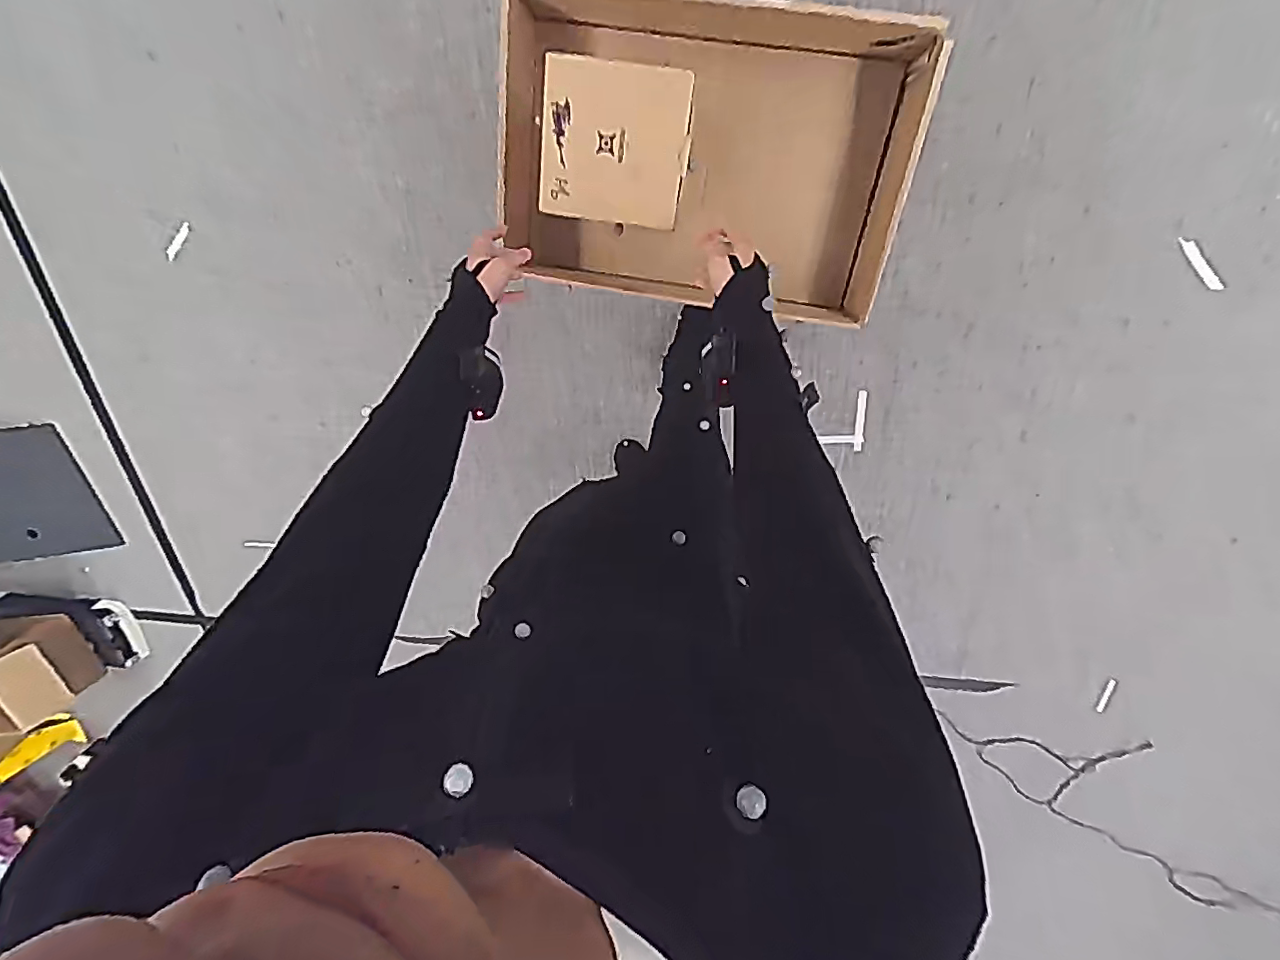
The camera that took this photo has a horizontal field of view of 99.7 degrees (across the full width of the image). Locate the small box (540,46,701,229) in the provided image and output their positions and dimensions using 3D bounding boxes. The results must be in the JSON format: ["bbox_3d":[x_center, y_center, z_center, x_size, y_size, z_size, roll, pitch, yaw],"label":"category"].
[{"bbox_3d":[-0.022,-0.435,0.710,0.179,0.176,0.168,10,116,1],"label":"small box"}]
